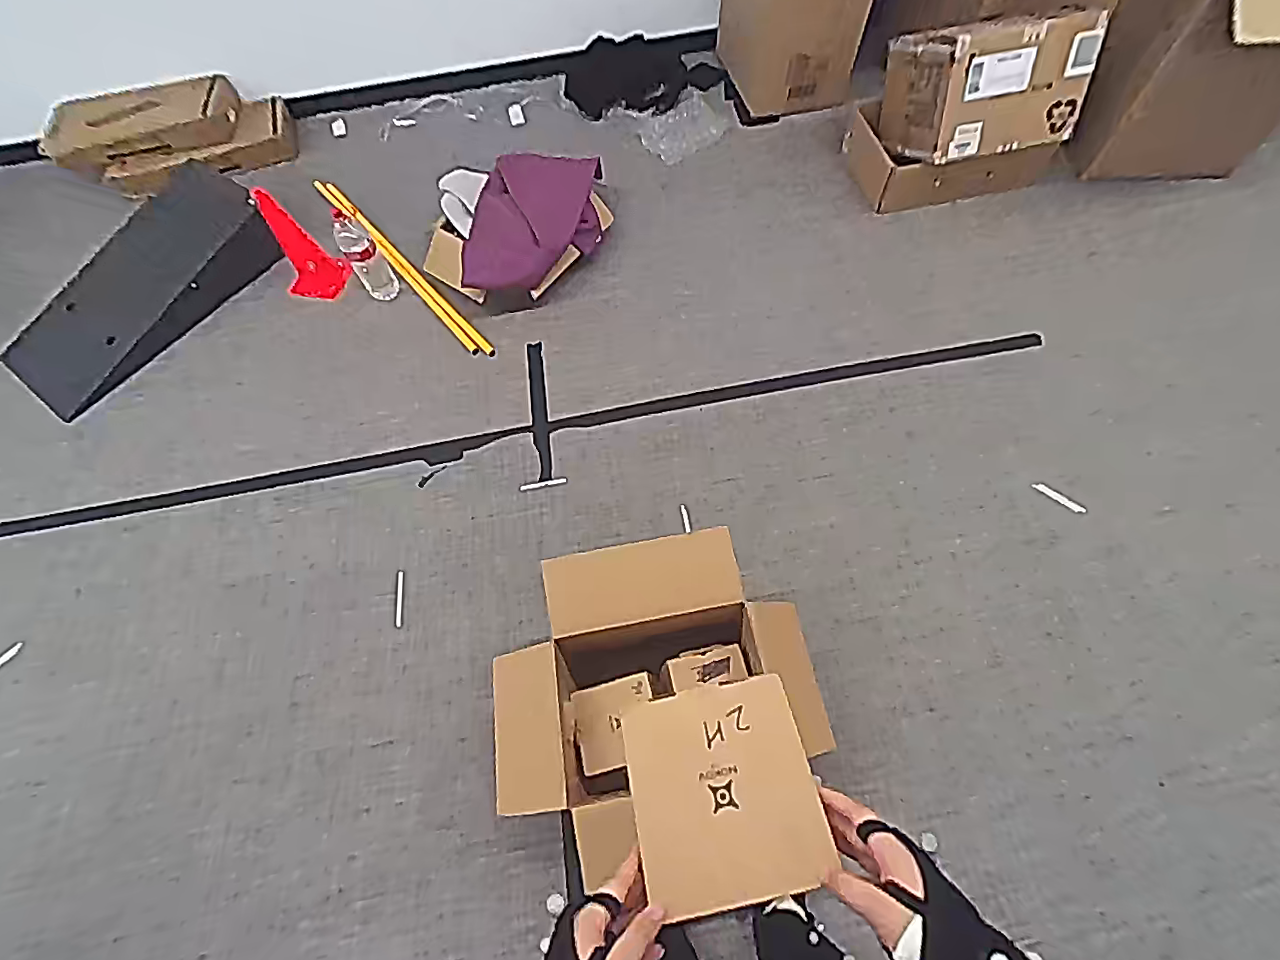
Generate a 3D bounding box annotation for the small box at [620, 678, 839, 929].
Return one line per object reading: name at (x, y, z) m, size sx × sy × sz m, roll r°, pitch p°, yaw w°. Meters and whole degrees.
small box at (0.081, 0.328, 0.556) m, size 0.168 × 0.176 × 0.179 m, roll -11°, pitch 54°, yaw -2°
